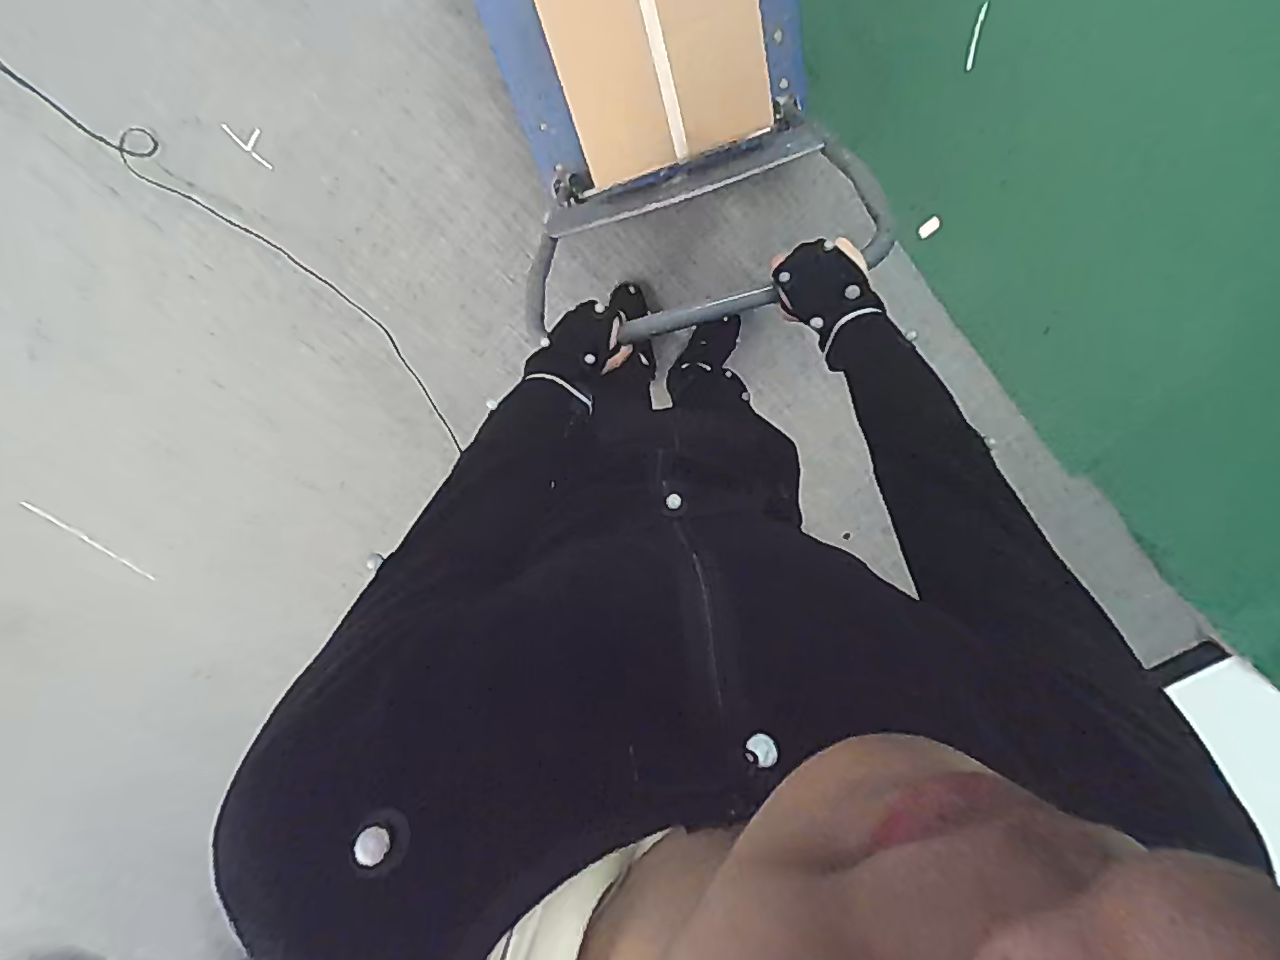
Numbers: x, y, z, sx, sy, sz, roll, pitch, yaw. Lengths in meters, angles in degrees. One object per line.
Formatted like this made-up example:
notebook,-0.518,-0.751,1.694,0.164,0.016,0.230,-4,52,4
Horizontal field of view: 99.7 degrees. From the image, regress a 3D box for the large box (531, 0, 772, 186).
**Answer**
large box,0.012,-0.783,0.911,0.320,0.320,0.408,-14,126,12
